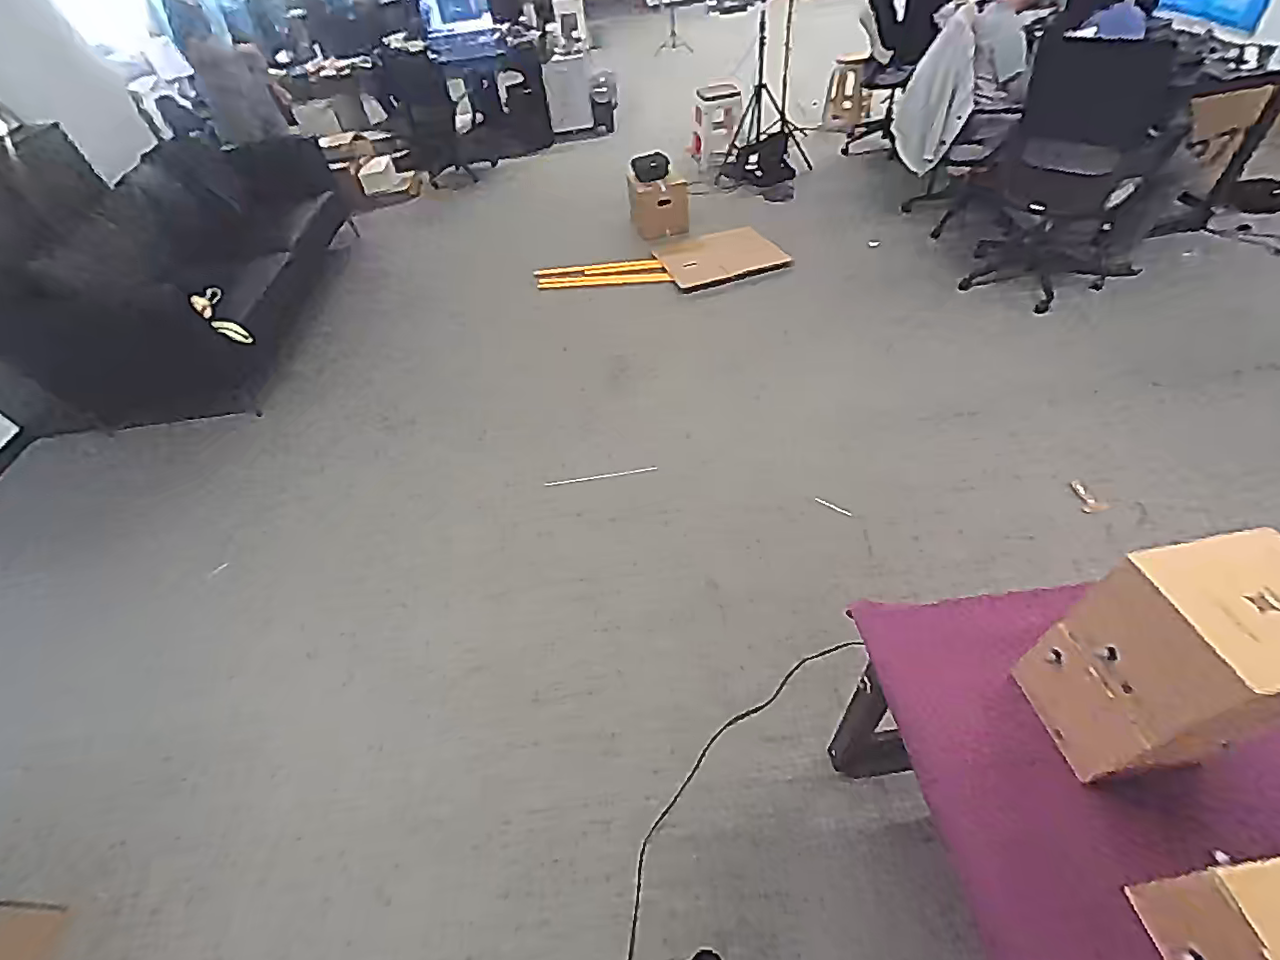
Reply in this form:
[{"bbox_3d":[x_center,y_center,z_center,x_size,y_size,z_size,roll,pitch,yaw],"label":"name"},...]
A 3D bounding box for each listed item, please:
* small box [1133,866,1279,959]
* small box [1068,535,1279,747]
[{"bbox_3d":[0.687,0.505,0.558,0.179,0.176,0.168,-10,48,1],"label":"small box"},{"bbox_3d":[0.660,0.188,0.623,0.179,0.176,0.168,-10,47,-1],"label":"small box"}]
